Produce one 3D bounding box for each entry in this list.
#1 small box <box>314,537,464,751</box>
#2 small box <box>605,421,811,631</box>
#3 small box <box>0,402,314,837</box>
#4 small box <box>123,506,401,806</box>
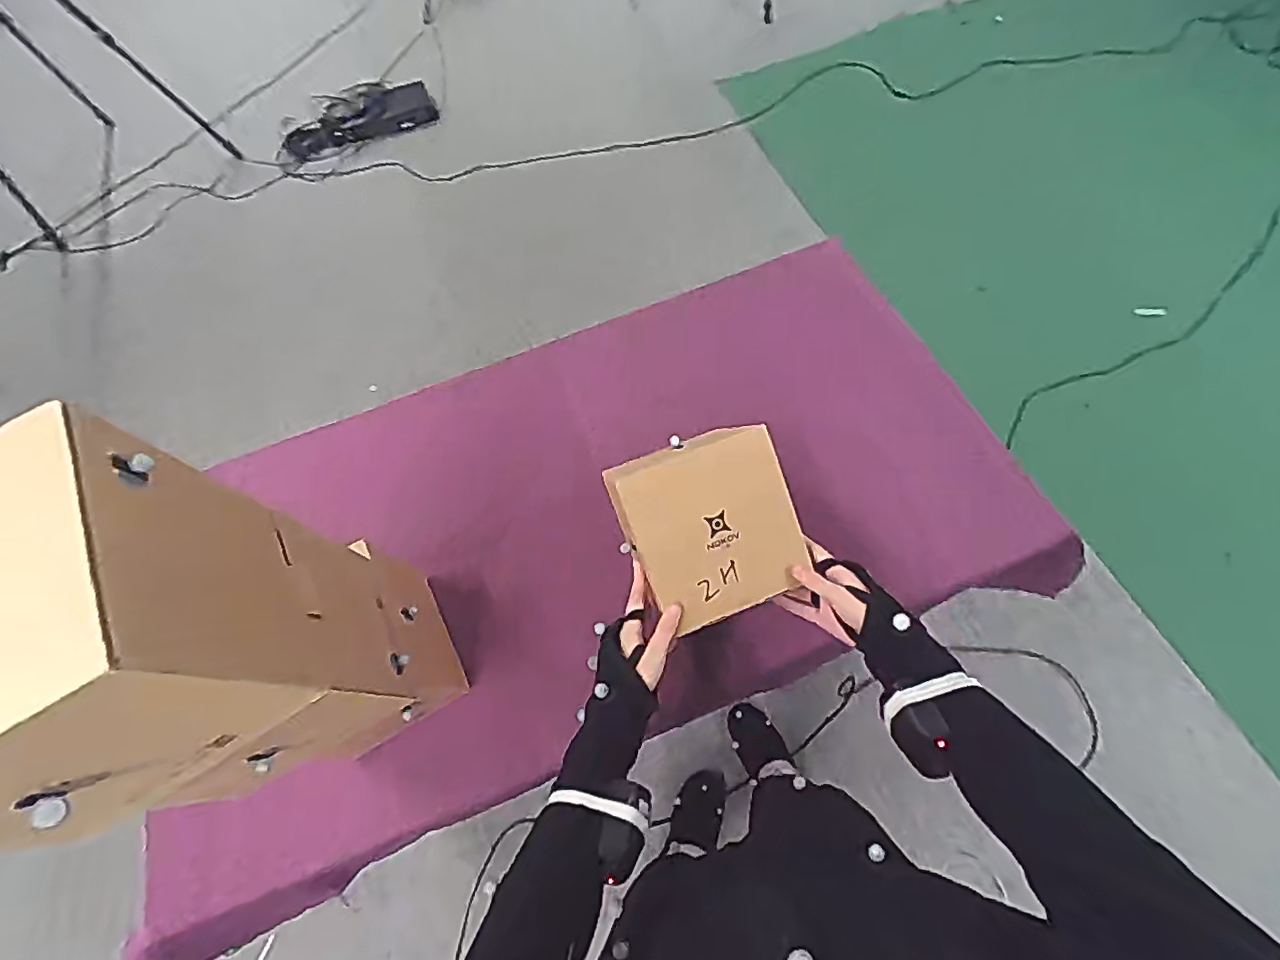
[{"bbox_3d":[-0.335,0.200,0.640,0.168,0.176,0.179,-28,65,-8],"label":"small box"},{"bbox_3d":[0.064,0.041,0.620,0.168,0.176,0.179,-19,97,-6],"label":"small box"},{"bbox_3d":[-0.342,0.093,0.330,0.168,0.176,0.179,-32,66,-10],"label":"small box"},{"bbox_3d":[-0.340,0.154,0.481,0.179,0.176,0.168,-29,66,-8],"label":"small box"}]
